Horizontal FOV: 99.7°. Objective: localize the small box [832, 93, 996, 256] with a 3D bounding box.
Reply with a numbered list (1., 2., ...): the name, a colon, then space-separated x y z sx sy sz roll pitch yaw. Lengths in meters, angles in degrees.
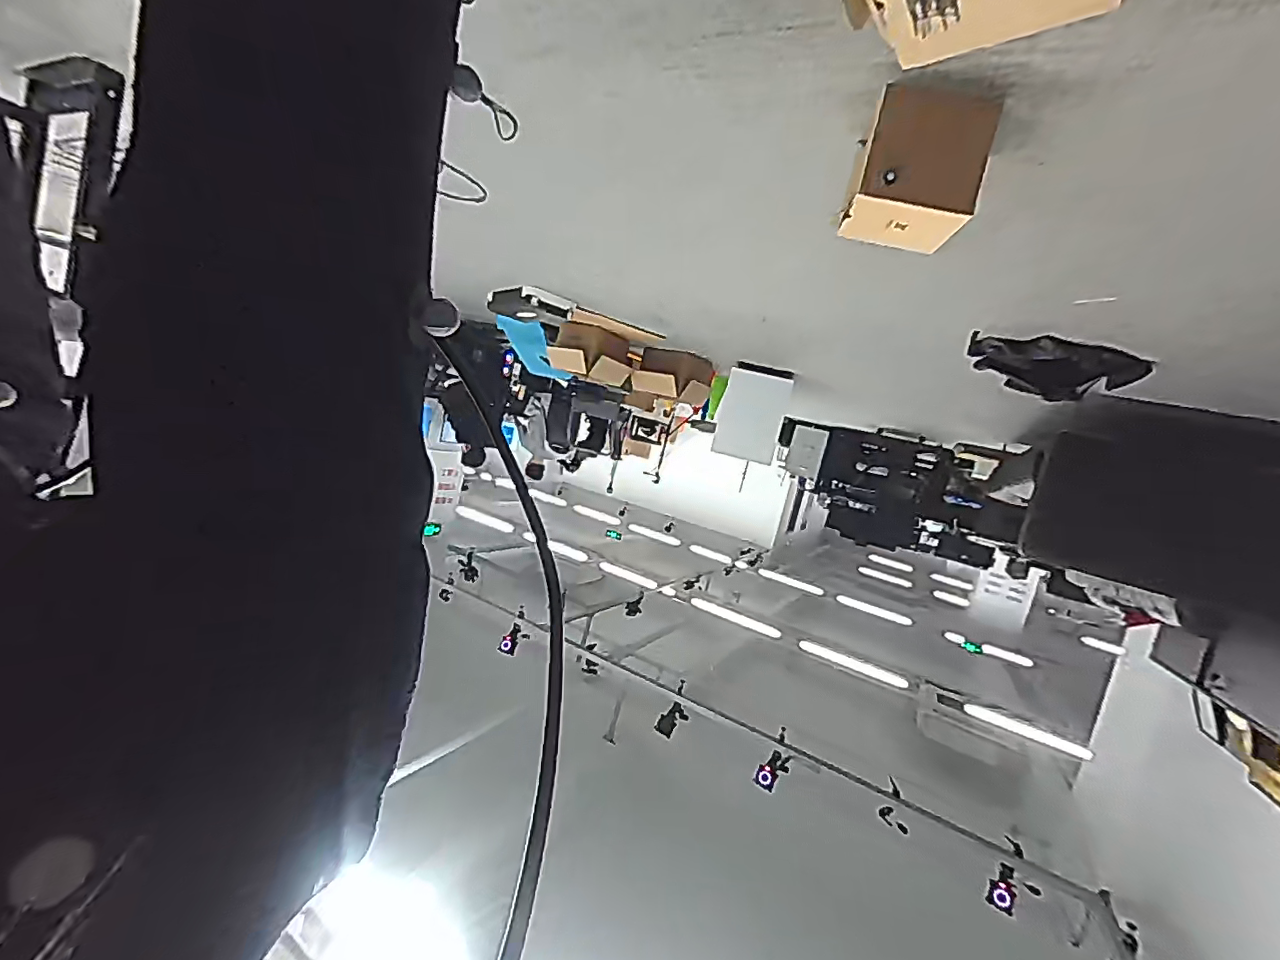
1. small box: 0.442 -0.496 0.891 0.179 0.176 0.168 16 -174 6
